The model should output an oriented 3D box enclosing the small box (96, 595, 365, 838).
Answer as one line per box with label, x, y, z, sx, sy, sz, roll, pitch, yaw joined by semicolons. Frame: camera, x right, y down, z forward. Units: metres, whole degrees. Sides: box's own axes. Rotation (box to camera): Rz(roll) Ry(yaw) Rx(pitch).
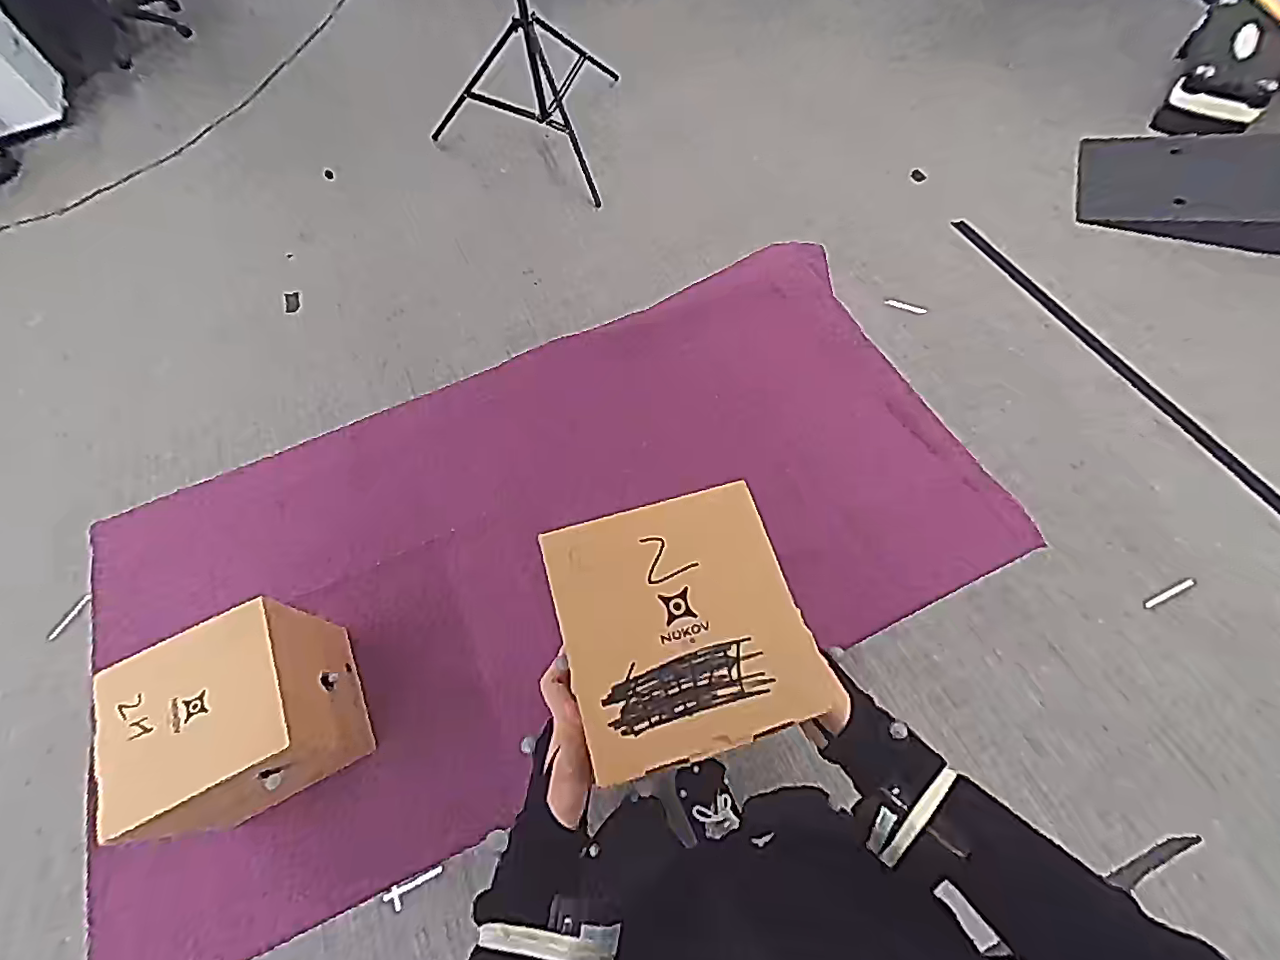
small box;-0.433;0.256;0.598;0.179;0.176;0.168;-26;64;-9
